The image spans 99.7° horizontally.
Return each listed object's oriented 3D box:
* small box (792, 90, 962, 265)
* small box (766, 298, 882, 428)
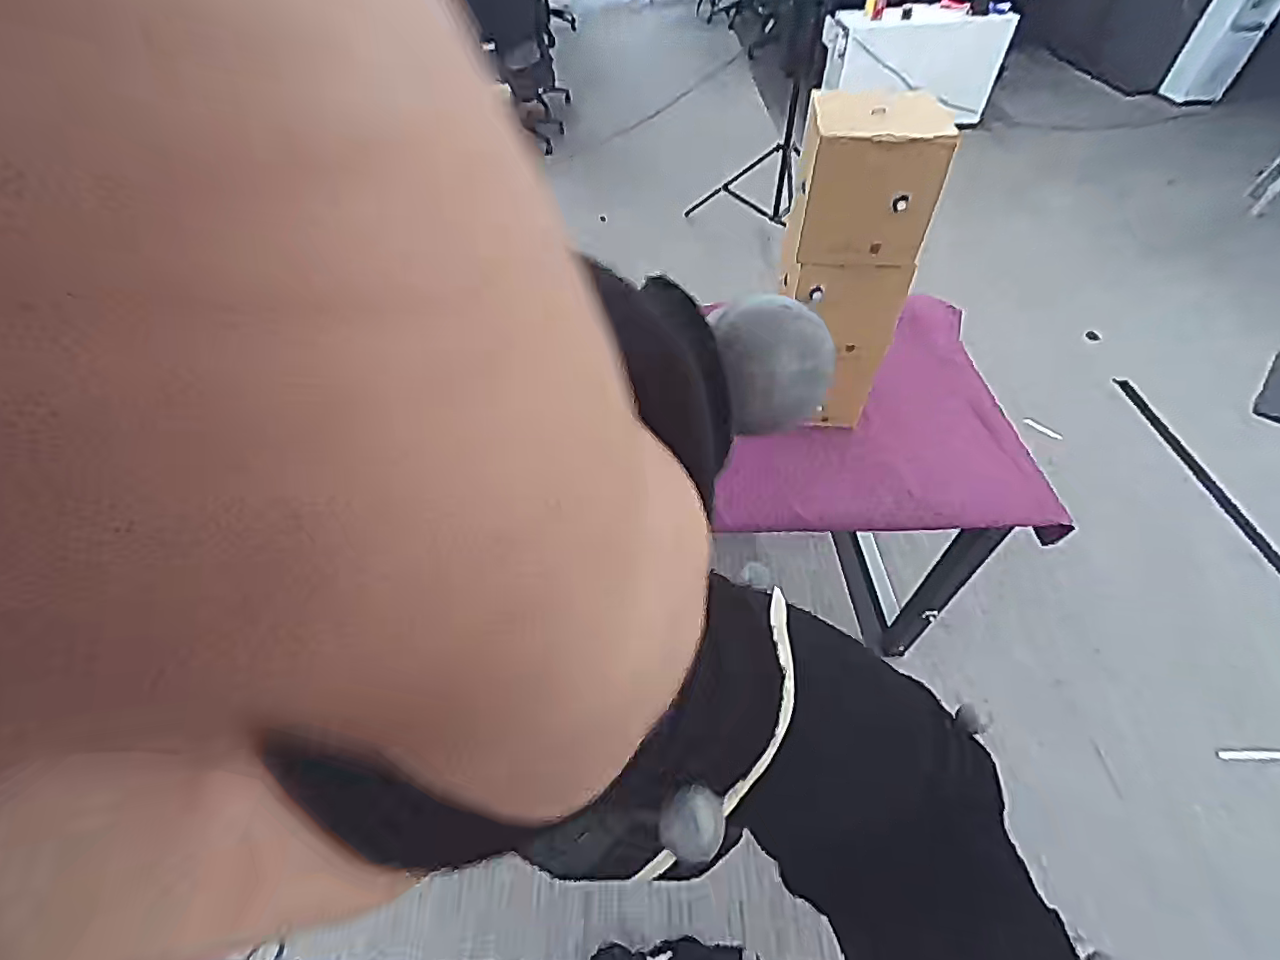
[{"bbox_3d":[0.314,-0.421,0.758,0.168,0.176,0.179,4,50,6],"label":"small box"},{"bbox_3d":[0.333,-0.220,1.016,0.168,0.176,0.179,2,51,6],"label":"small box"}]
